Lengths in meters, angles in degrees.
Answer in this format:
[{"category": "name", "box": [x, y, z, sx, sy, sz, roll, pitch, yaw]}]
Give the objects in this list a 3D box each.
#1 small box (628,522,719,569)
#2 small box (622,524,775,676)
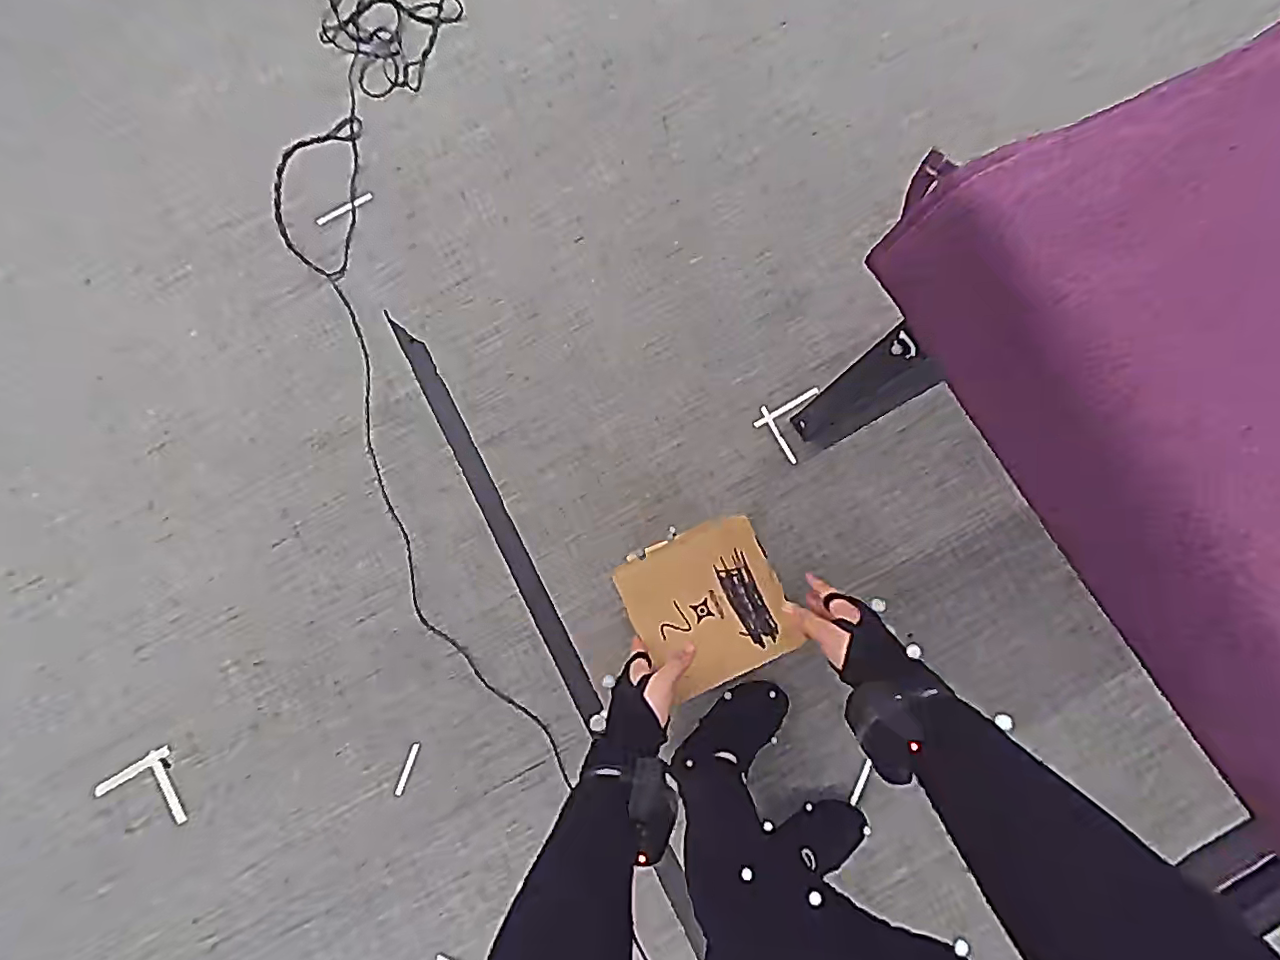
[{"category": "small box", "box": [0.092, 0.189, 1.029, 0.179, 0.176, 0.168, -23, 84, 0]}, {"category": "small box", "box": [0.085, 0.180, 0.864, 0.179, 0.176, 0.168, -28, 84, 0]}]
